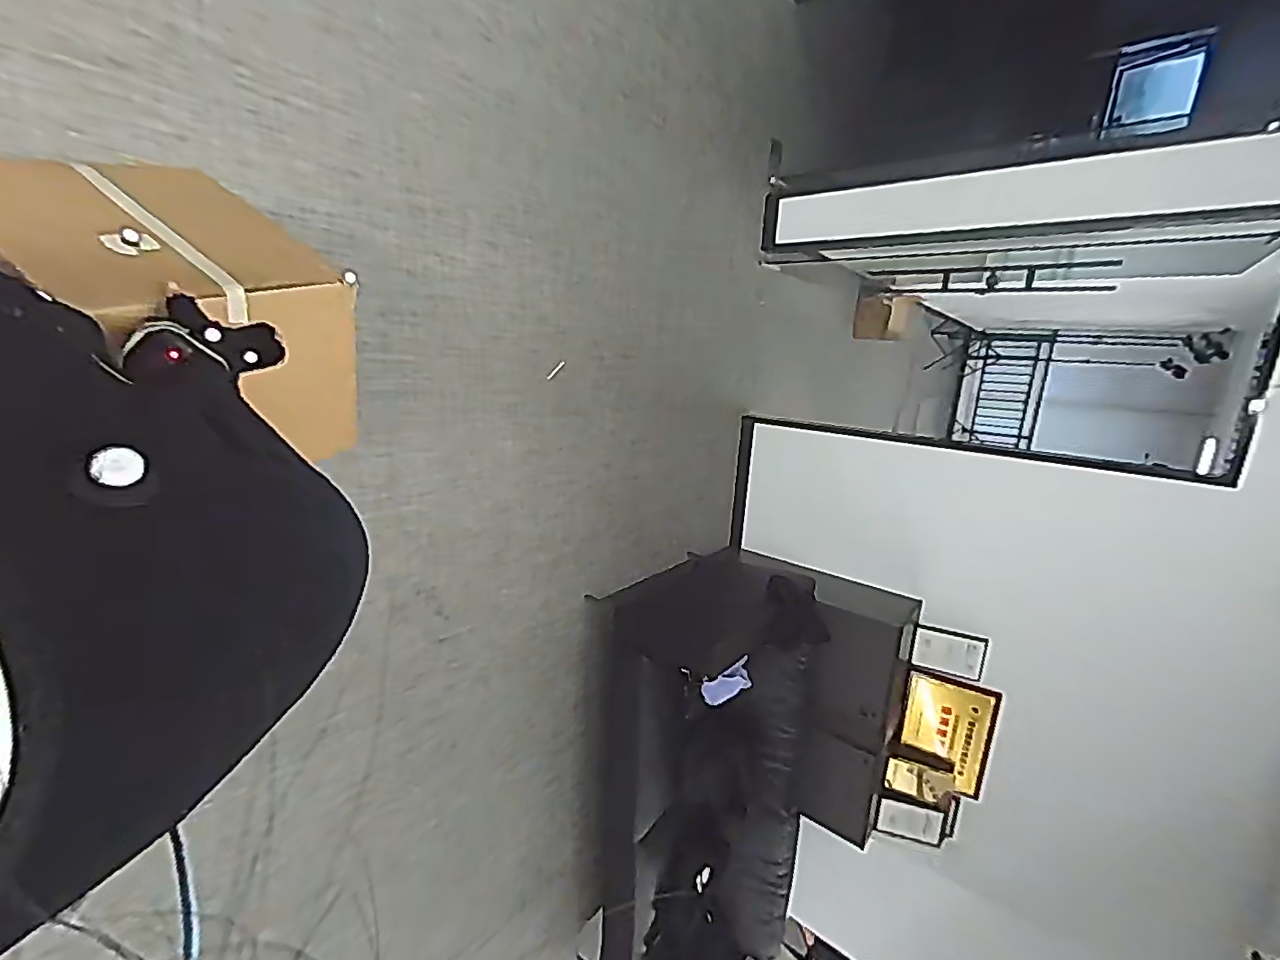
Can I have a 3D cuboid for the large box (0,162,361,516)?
[{"bbox_3d":[-0.685,-0.221,0.805,0.320,0.408,0.320,-35,155,-48],"label":"large box"}]
